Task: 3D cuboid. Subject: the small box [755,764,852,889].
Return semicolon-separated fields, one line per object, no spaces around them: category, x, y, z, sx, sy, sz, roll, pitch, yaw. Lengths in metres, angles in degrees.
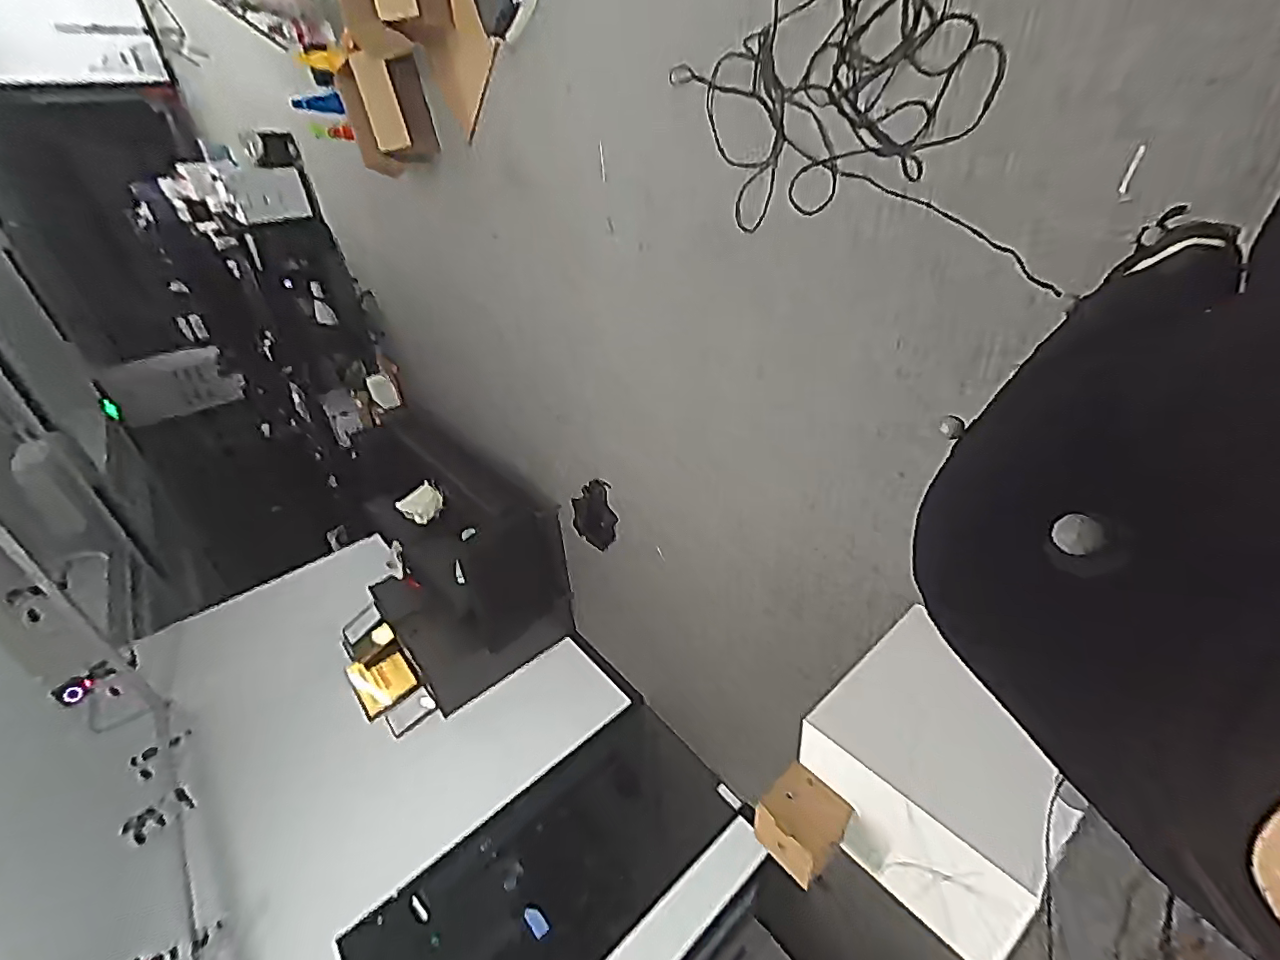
small box;0.412;0.864;1.363;0.168;0.176;0.179;31;137;42
